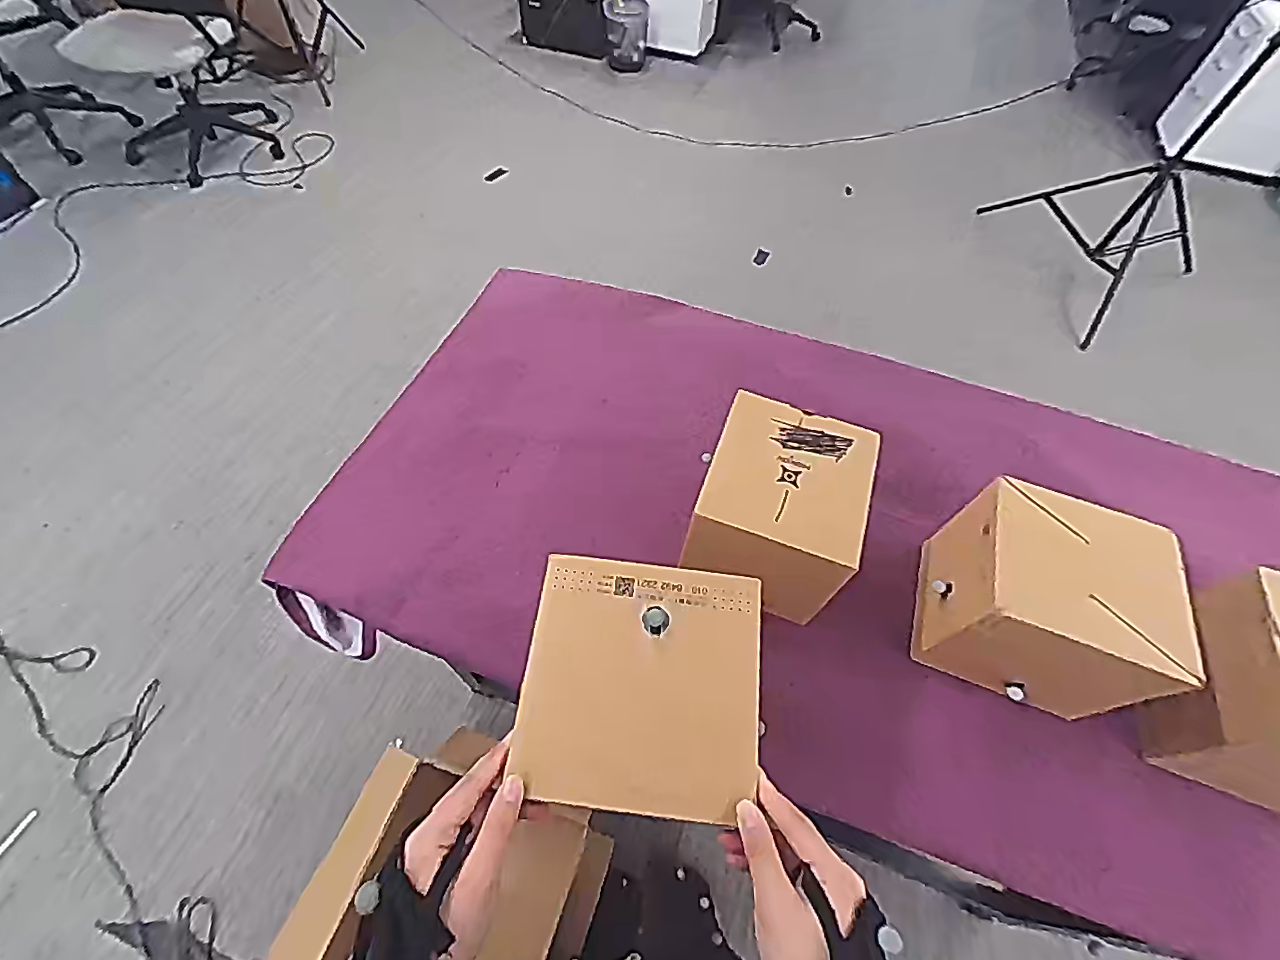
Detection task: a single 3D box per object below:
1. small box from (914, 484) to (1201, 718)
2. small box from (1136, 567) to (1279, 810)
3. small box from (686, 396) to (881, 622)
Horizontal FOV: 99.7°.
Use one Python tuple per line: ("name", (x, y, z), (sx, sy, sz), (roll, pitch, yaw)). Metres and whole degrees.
("small box", (0.430, 0.129, 0.589), (0.179, 0.176, 0.168), (20, 56, 10))
("small box", (0.654, 0.220, 0.542), (0.179, 0.176, 0.168), (20, 55, 10))
("small box", (0.160, 0.038, 0.637), (0.168, 0.176, 0.179), (19, 58, 9))
